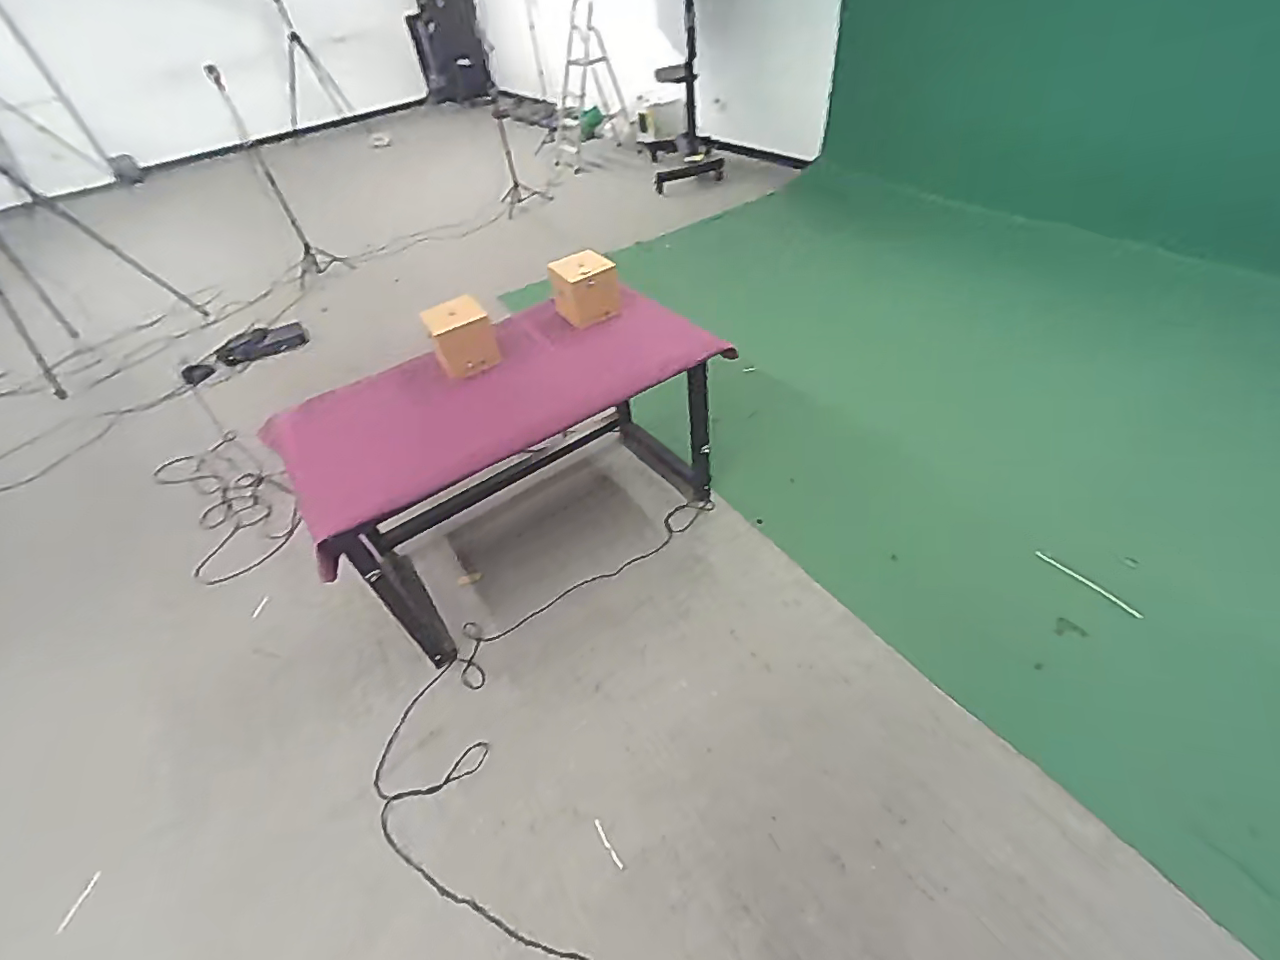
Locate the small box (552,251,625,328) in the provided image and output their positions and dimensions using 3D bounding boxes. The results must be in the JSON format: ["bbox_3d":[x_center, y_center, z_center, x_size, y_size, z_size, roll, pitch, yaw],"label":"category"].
[{"bbox_3d":[-0.169,-0.633,1.799,0.168,0.176,0.179,-29,49,-18],"label":"small box"}]

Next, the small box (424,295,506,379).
[{"bbox_3d":[-0.536,-0.439,1.666,0.168,0.176,0.179,-28,49,-17],"label":"small box"}]
